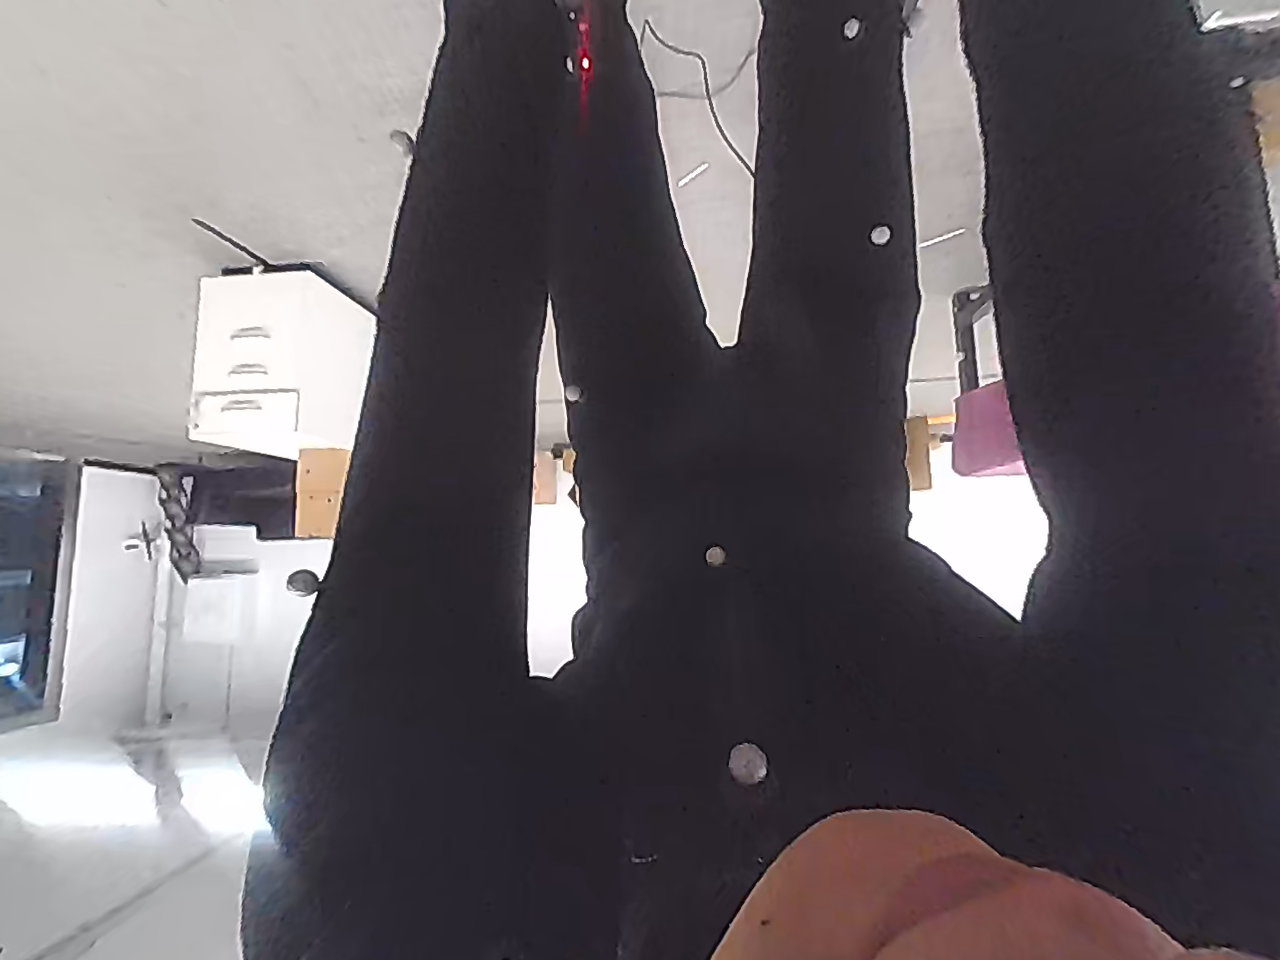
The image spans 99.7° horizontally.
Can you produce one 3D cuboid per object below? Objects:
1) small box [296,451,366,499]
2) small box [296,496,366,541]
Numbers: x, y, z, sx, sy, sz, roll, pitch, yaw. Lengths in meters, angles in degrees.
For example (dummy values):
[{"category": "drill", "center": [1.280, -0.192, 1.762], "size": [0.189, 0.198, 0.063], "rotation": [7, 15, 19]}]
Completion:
[{"category": "small box", "center": [-1.183, -0.016, 2.082], "size": [0.179, 0.176, 0.168], "rotation": [-1, 174, 4]}, {"category": "small box", "center": [-1.179, 0.147, 2.070], "size": [0.168, 0.176, 0.179], "rotation": [-1, 175, 8]}]
